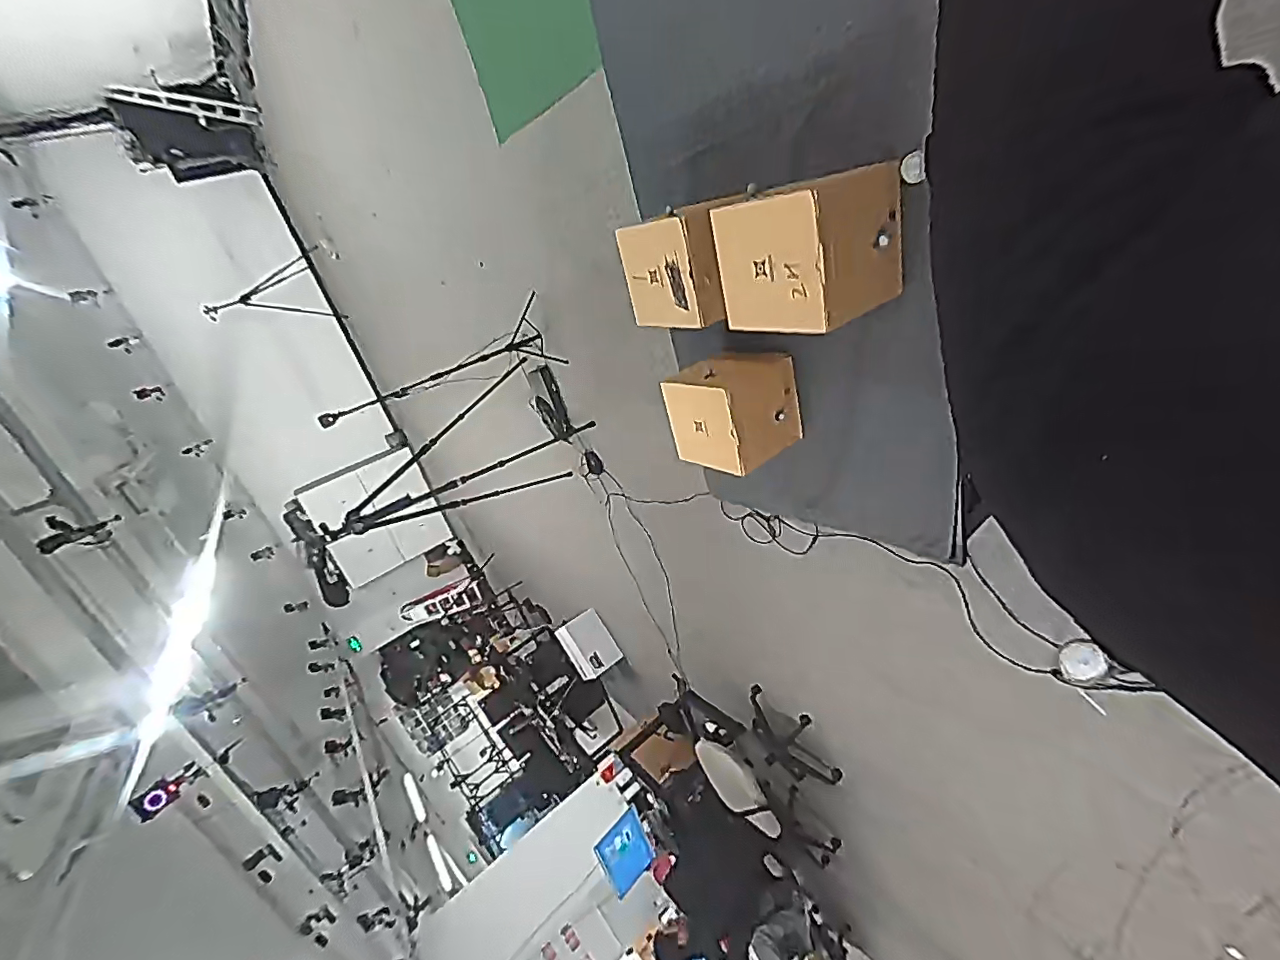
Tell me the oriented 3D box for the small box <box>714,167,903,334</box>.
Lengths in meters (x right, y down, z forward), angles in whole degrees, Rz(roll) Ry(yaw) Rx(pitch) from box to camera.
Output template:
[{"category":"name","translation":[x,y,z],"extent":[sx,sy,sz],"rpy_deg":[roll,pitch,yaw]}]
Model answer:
[{"category":"small box","translation":[0.232,-0.309,0.740],"extent":[0.179,0.176,0.168],"rpy_deg":[22,135,51]}]

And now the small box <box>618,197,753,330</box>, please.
[{"category":"small box","translation":[0.096,-0.364,0.917],"extent":[0.179,0.176,0.168],"rpy_deg":[22,135,50]}]

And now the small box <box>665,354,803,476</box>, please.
[{"category":"small box","translation":[0.178,-0.130,1.016],"extent":[0.179,0.176,0.168],"rpy_deg":[19,132,51]}]
